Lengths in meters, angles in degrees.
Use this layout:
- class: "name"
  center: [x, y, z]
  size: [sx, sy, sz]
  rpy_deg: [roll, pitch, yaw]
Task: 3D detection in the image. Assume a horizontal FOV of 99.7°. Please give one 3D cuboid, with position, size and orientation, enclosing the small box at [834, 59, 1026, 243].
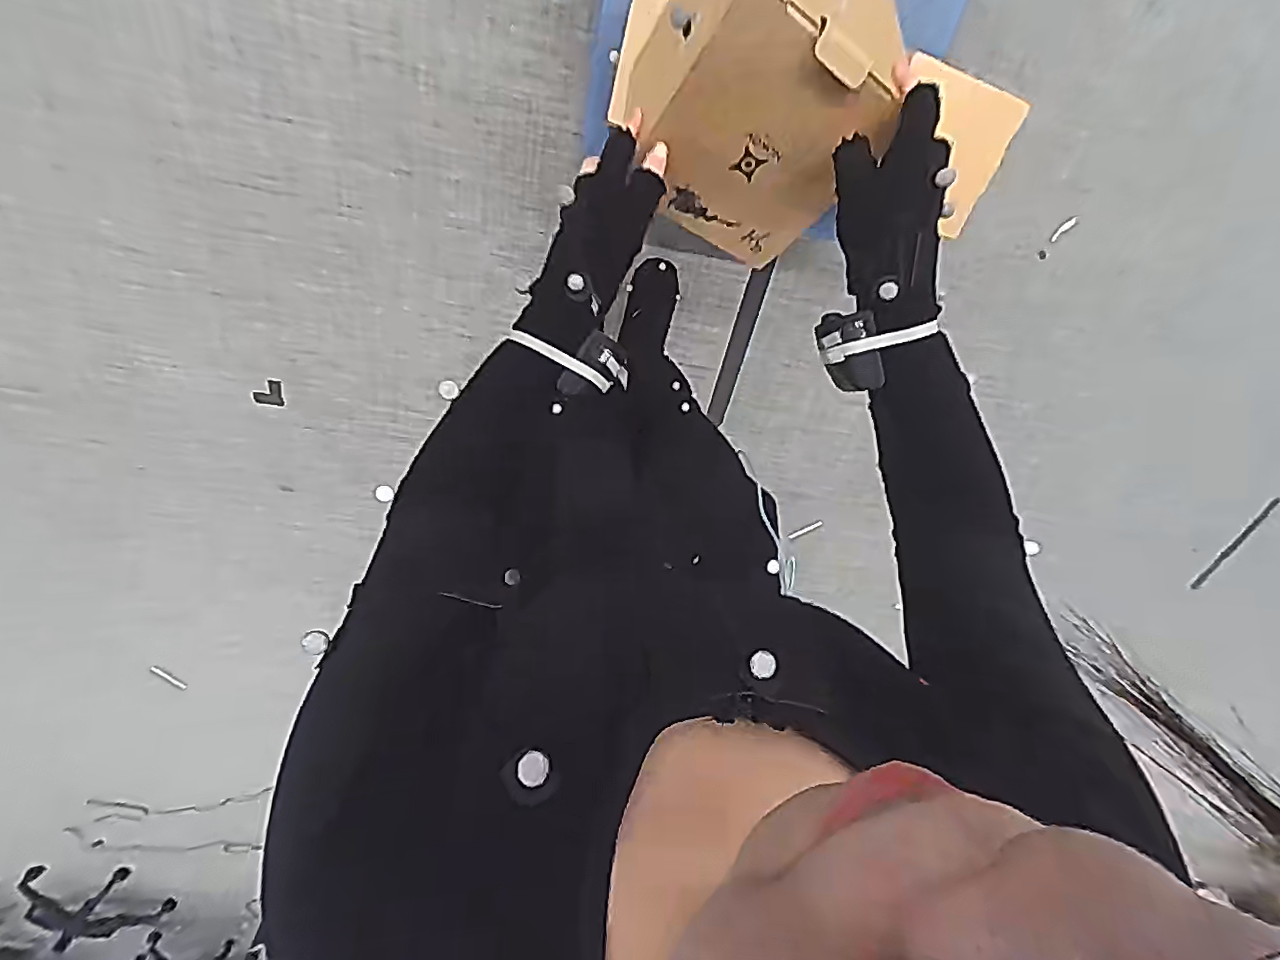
- class: "small box"
  center: [0.374, -0.456, 0.765]
  size: [0.179, 0.176, 0.168]
  rpy_deg: [13, 120, -13]

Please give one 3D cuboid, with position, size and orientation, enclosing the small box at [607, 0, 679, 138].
- class: "small box"
  center: [0.052, -0.610, 0.839]
  size: [0.179, 0.176, 0.168]
  rpy_deg: [13, 120, -10]

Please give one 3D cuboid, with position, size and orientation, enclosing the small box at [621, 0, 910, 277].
- class: "small box"
  center: [0.098, -0.328, 0.475]
  size: [0.168, 0.176, 0.179]
  rpy_deg: [19, 150, -26]
